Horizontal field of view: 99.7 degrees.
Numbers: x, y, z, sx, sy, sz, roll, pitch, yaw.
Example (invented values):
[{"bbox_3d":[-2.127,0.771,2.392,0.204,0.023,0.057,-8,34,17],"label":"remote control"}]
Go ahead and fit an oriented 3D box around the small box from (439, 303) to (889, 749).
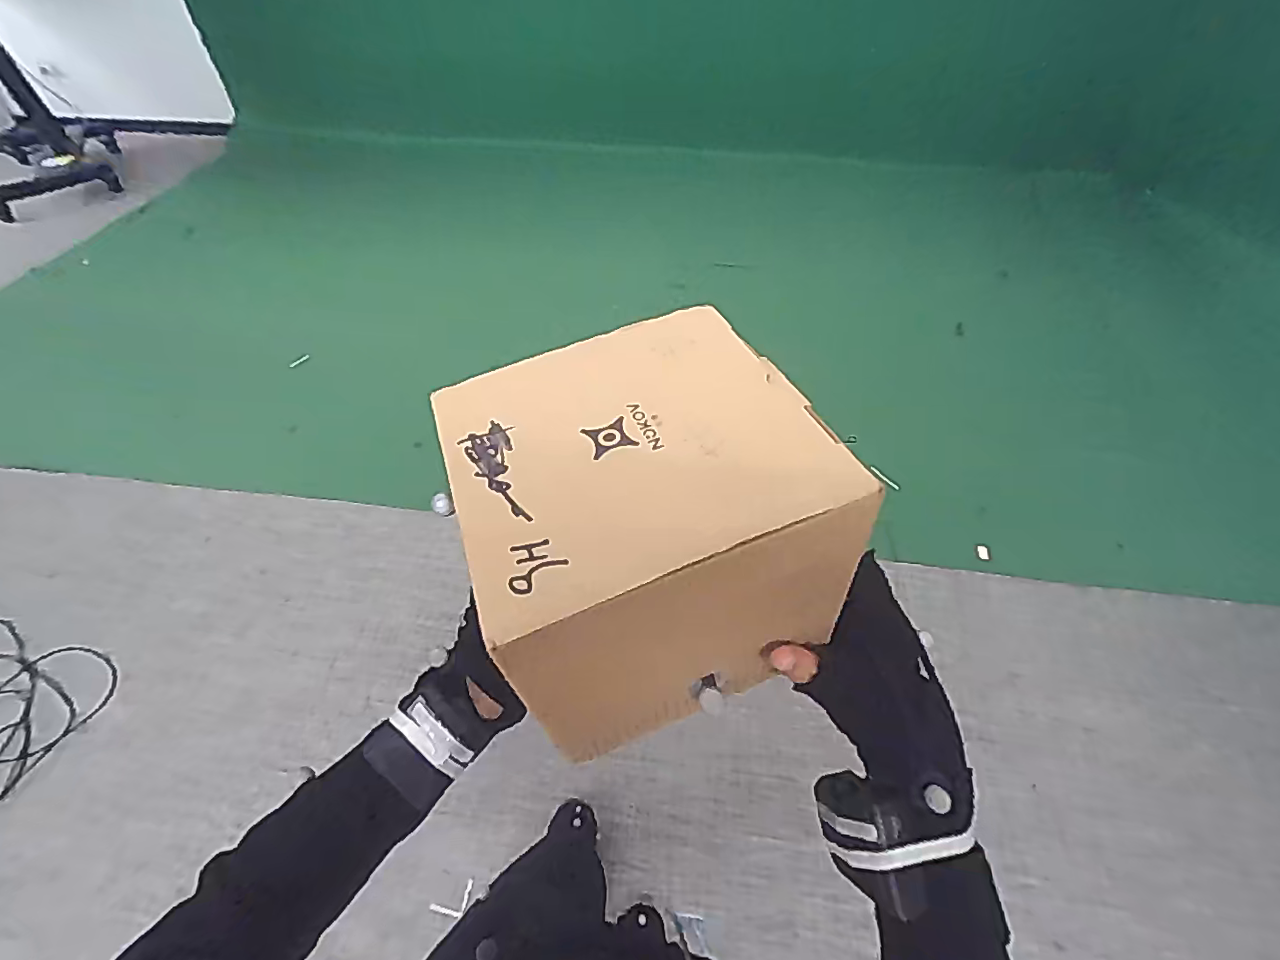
[{"bbox_3d":[0.003,0.028,0.322,0.179,0.176,0.168,-19,50,-11],"label":"small box"}]
